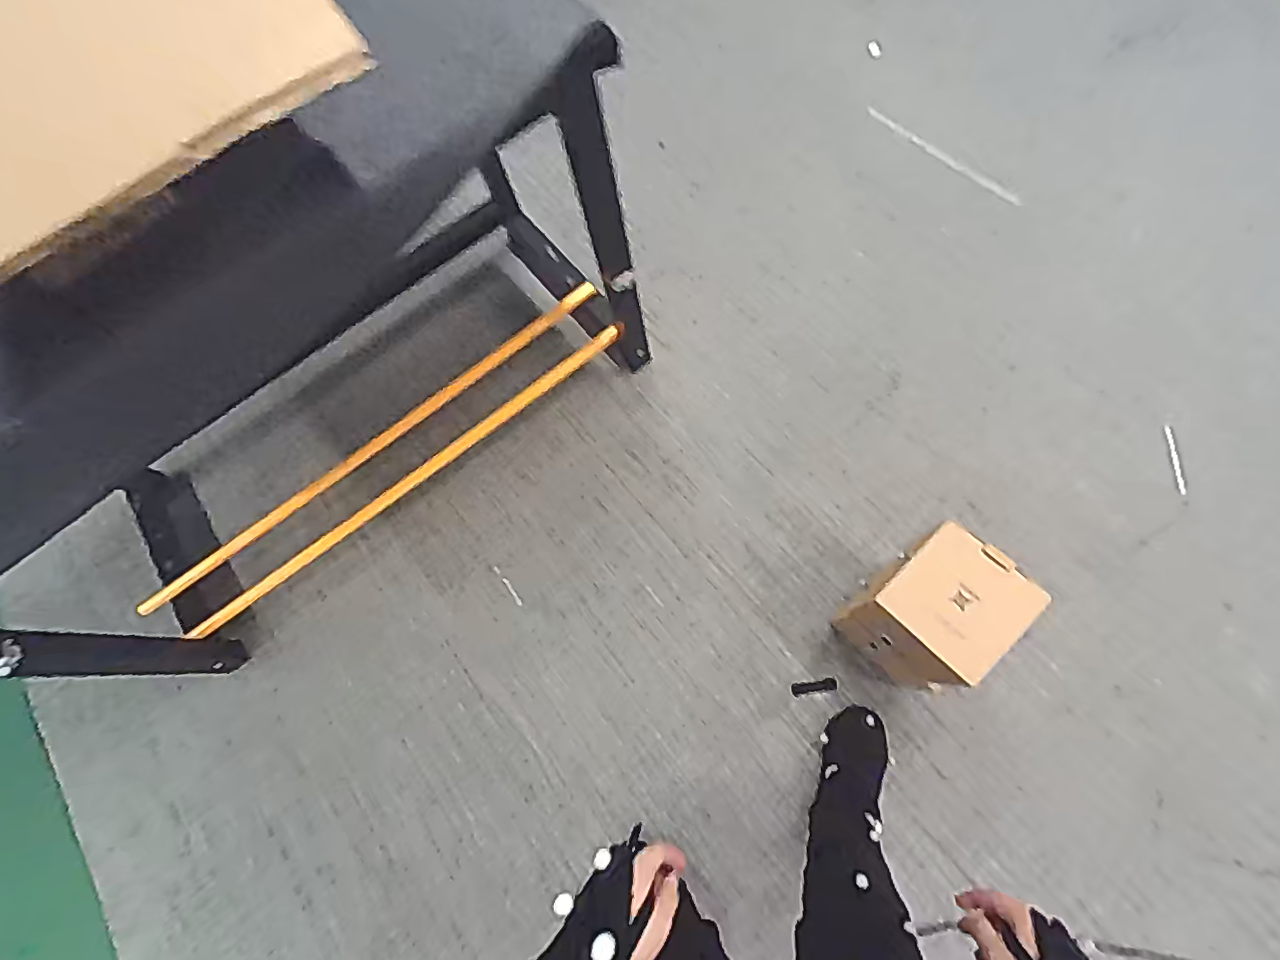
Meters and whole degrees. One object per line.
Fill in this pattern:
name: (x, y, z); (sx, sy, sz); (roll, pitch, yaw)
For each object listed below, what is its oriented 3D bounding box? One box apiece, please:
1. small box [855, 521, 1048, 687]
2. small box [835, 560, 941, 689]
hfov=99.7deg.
small box: (0.463, 0.195, 0.839); (0.179, 0.176, 0.168); (-44, 71, -8)
small box: (0.486, 0.260, 0.989); (0.168, 0.176, 0.179); (-43, 71, -8)
